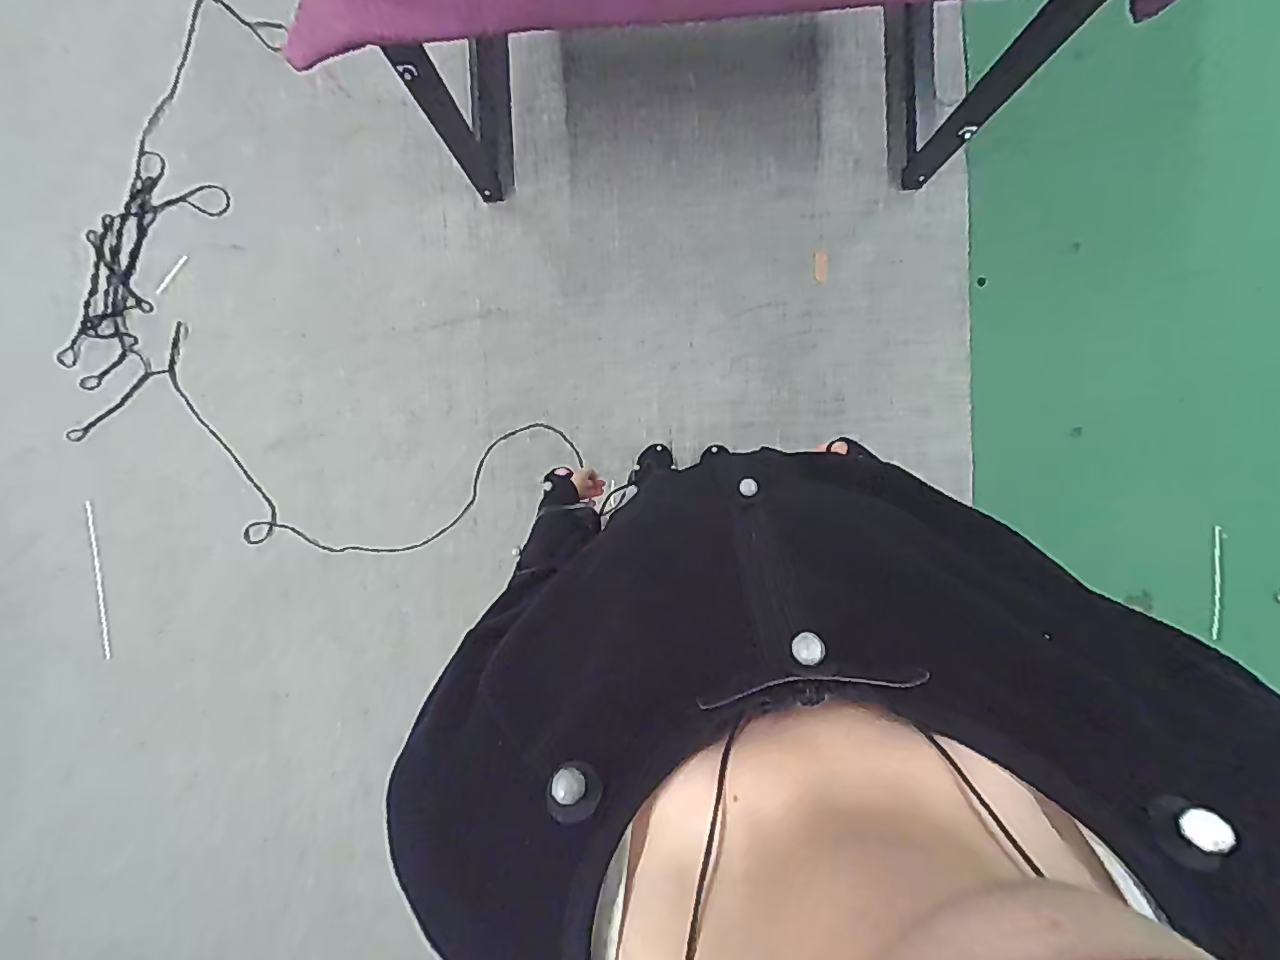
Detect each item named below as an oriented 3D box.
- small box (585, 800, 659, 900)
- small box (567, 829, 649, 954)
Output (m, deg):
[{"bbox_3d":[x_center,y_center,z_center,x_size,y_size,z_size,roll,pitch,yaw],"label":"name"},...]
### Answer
[{"bbox_3d":[-0.050,0.989,1.445,0.179,0.176,0.168,-11,91,3],"label":"small box"},{"bbox_3d":[-0.069,0.973,1.282,0.168,0.176,0.179,-7,92,2],"label":"small box"}]
